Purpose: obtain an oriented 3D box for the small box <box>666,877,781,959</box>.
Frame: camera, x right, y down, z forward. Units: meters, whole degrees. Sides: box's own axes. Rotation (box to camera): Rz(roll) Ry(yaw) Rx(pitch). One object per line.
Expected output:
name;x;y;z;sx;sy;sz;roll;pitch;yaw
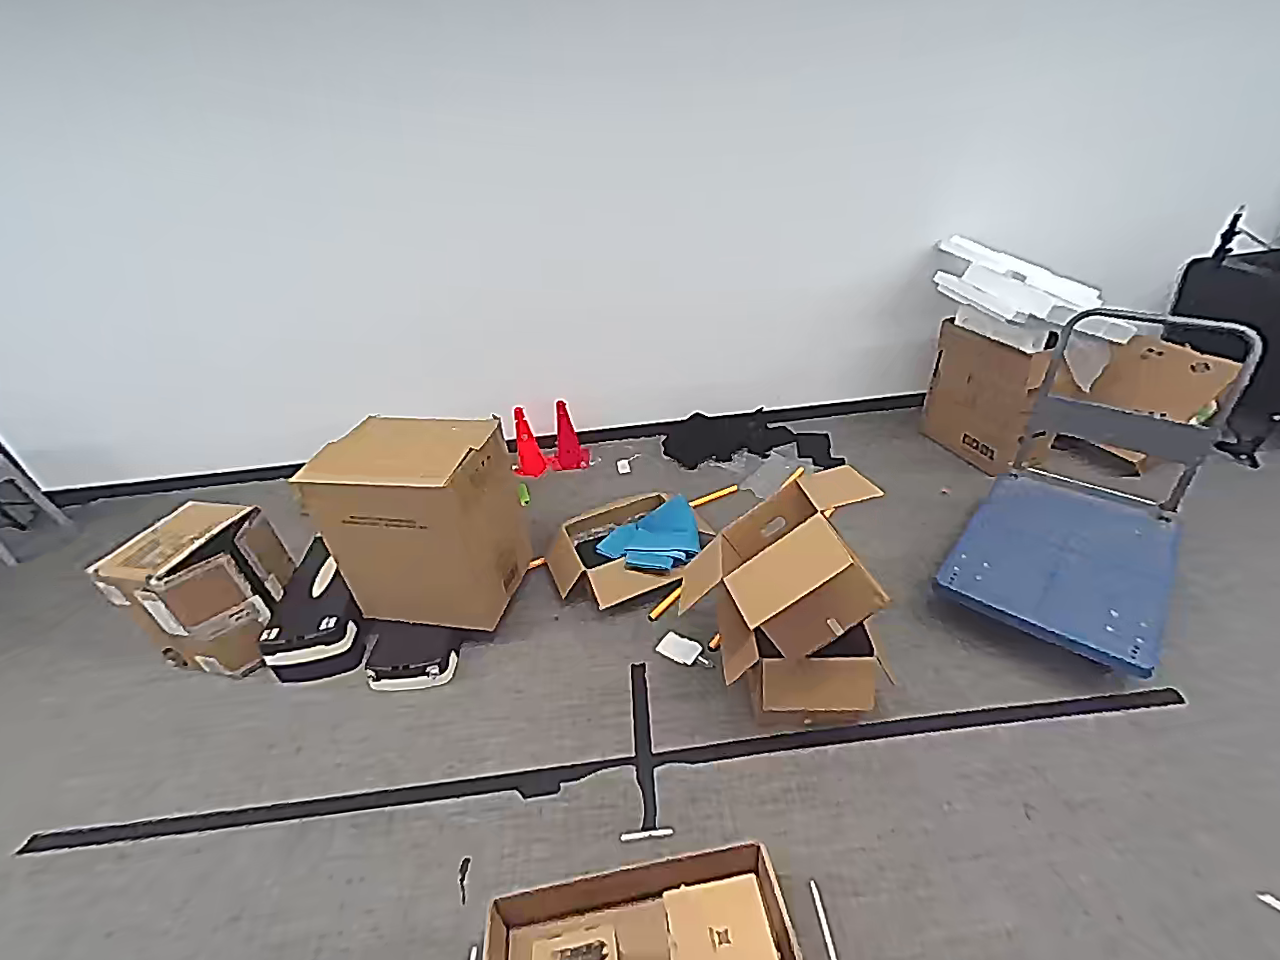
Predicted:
small box;0.149;0.849;0.964;0.179;0.176;0.168;-10;34;-4
